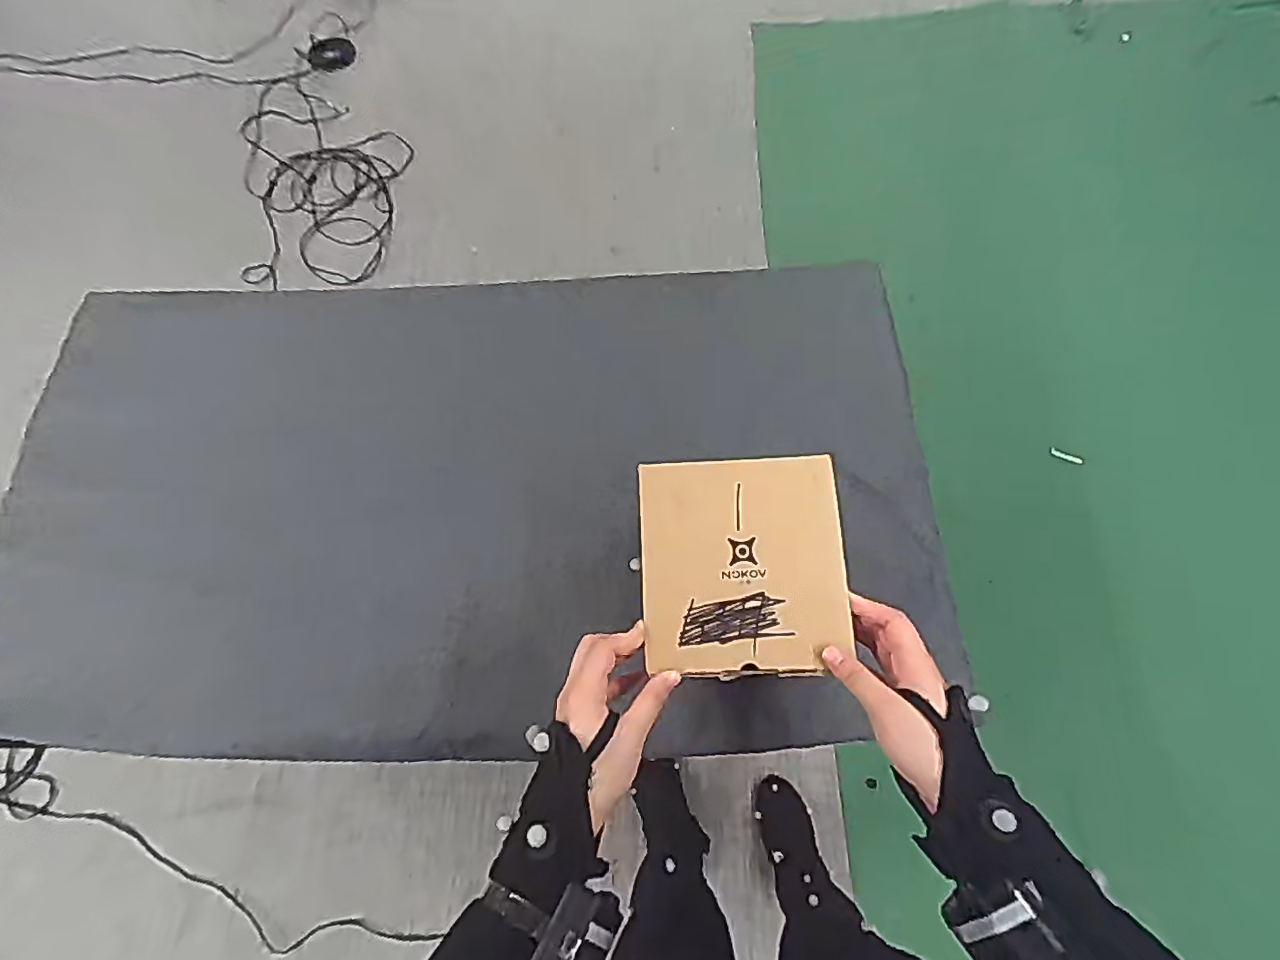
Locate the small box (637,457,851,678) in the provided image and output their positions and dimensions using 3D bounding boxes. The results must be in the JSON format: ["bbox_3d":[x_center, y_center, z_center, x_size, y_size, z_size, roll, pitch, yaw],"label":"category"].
[{"bbox_3d":[0.087,0.086,0.516,0.168,0.176,0.179,-3,76,4],"label":"small box"}]
